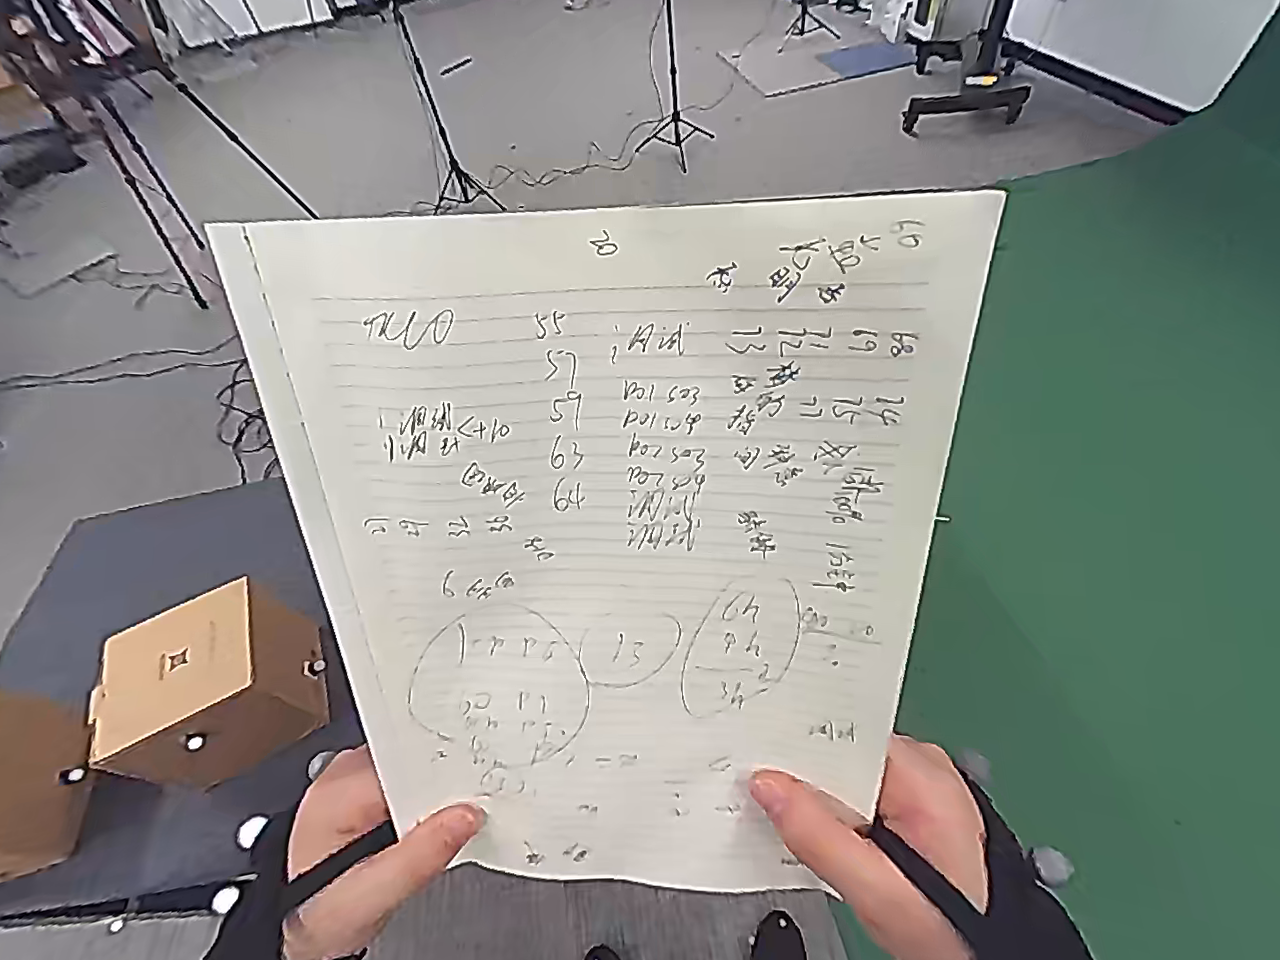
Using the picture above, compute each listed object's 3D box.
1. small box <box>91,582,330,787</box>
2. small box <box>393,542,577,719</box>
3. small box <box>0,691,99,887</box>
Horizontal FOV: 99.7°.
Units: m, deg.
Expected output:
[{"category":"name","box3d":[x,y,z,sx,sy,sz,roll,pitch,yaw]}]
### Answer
[{"category":"small box","box3d":[-0.550,0.274,0.714,0.179,0.176,0.168,-26,54,-13]},{"category":"small box","box3d":[-0.185,0.198,0.712,0.168,0.176,0.179,-2,52,8]},{"category":"small box","box3d":[-0.824,0.392,0.661,0.168,0.176,0.179,-18,52,-6]}]
